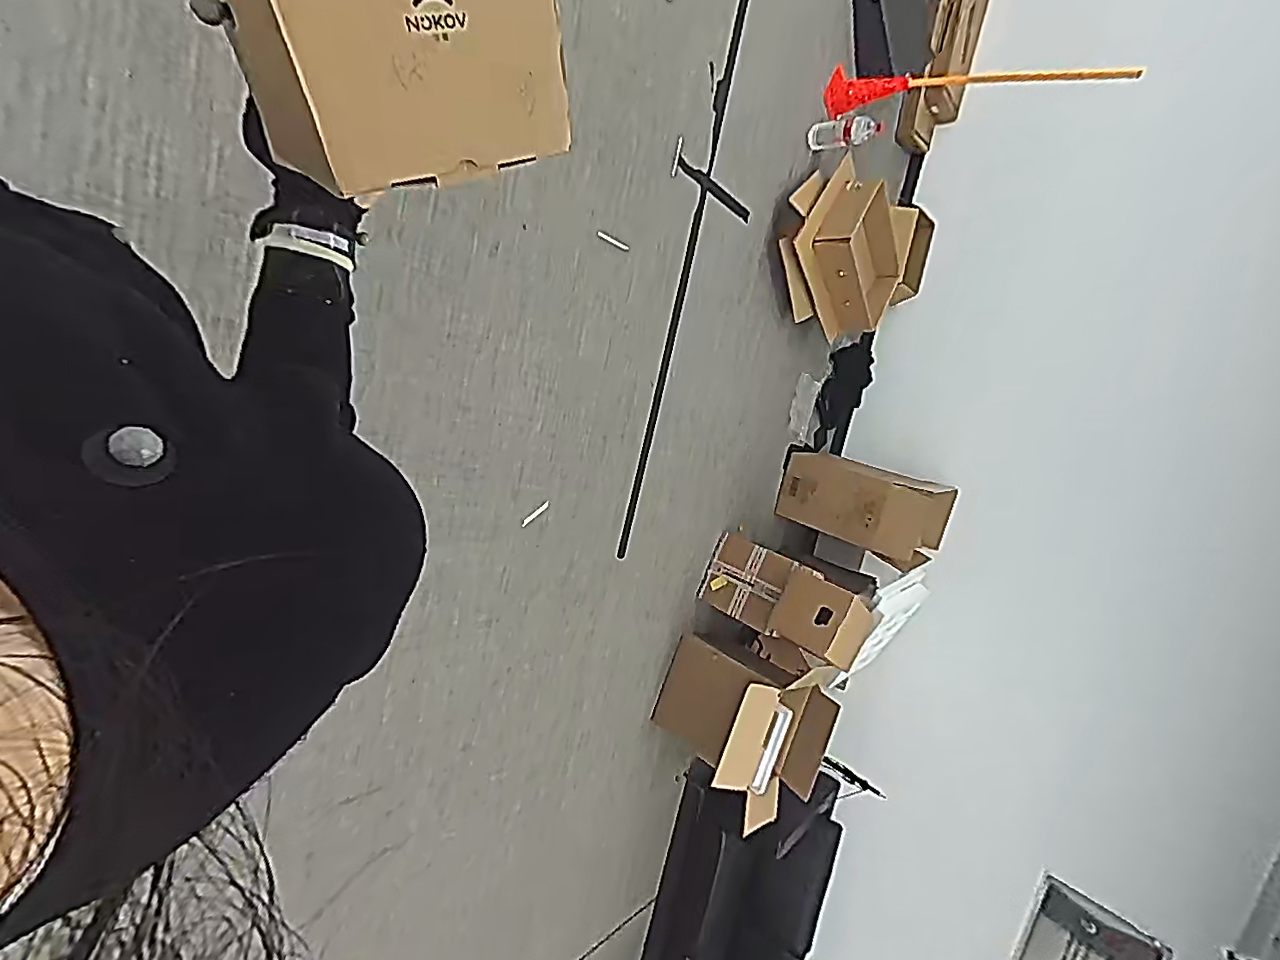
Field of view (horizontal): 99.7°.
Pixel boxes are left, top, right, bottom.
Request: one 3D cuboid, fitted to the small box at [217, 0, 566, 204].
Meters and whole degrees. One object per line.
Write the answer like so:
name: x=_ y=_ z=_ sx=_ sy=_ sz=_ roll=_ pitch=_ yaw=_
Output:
small box: x=-0.170 y=-0.309 z=0.359 sx=0.168 sy=0.176 sz=0.179 roll=-30 pitch=139 yaw=-27
